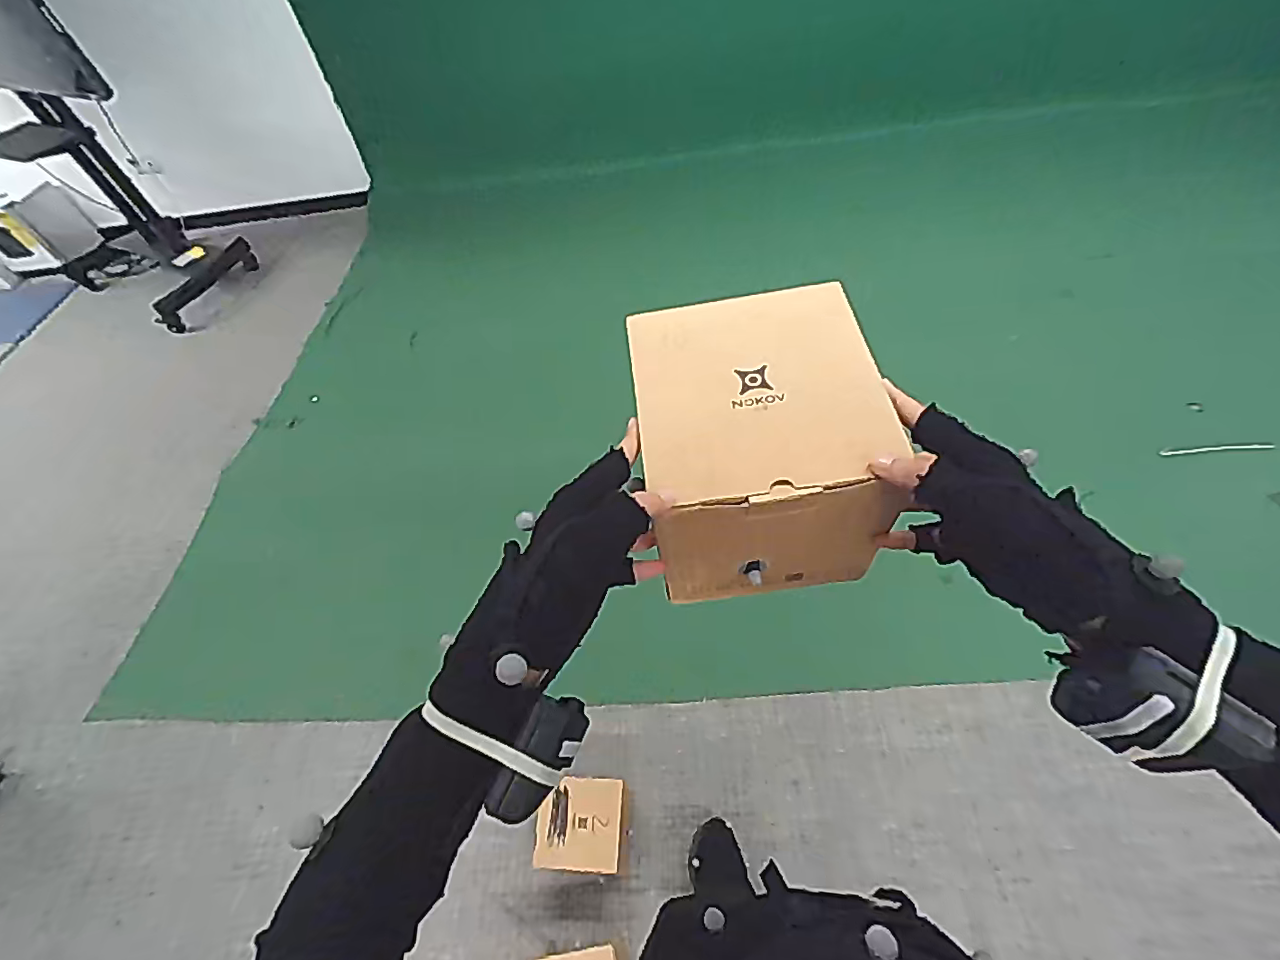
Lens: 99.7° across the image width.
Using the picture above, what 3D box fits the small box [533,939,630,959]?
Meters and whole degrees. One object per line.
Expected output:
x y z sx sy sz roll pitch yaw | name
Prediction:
-0.105 0.977 1.004 0.179 0.176 0.168 -12 51 0 | small box
